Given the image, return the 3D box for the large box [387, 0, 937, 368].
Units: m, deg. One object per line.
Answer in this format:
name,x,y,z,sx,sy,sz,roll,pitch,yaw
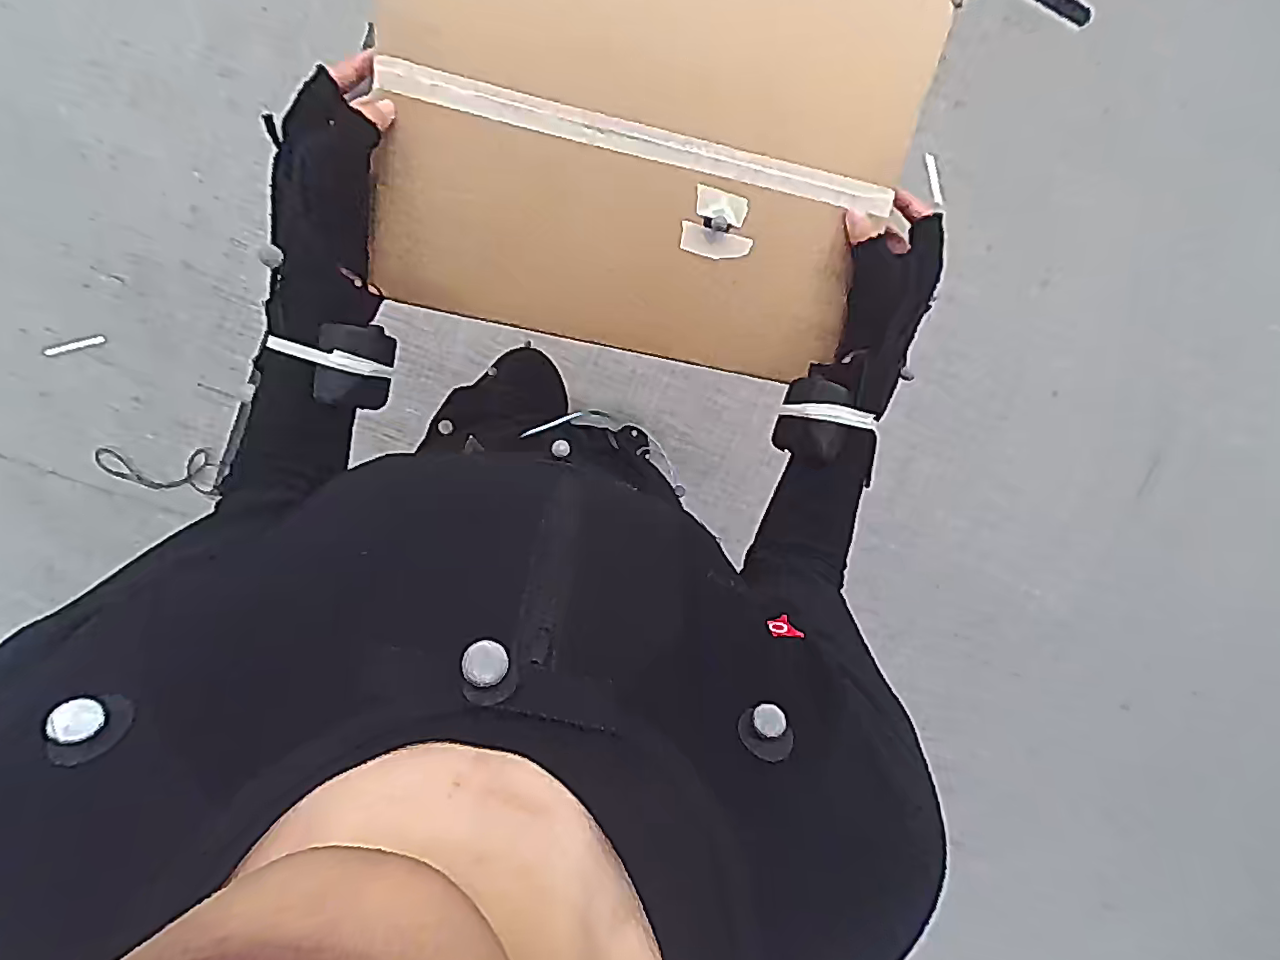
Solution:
large box,-0.006,-0.326,0.570,0.408,0.320,0.320,9,111,-8
